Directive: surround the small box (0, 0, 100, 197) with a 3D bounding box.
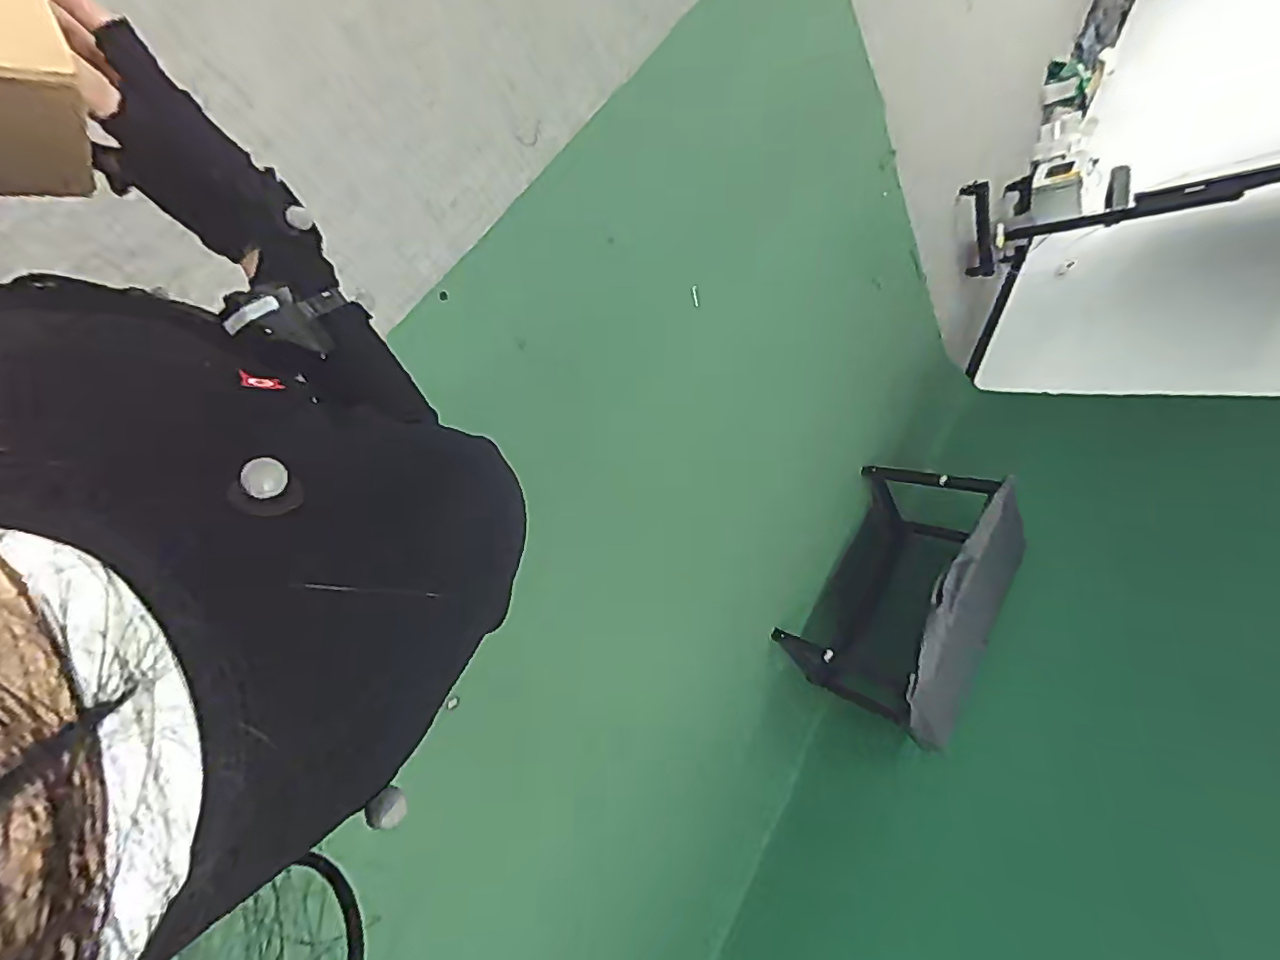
[{"bbox_3d":[-0.398,-0.252,0.249,0.168,0.176,0.179,-27,111,-40],"label":"small box"}]
